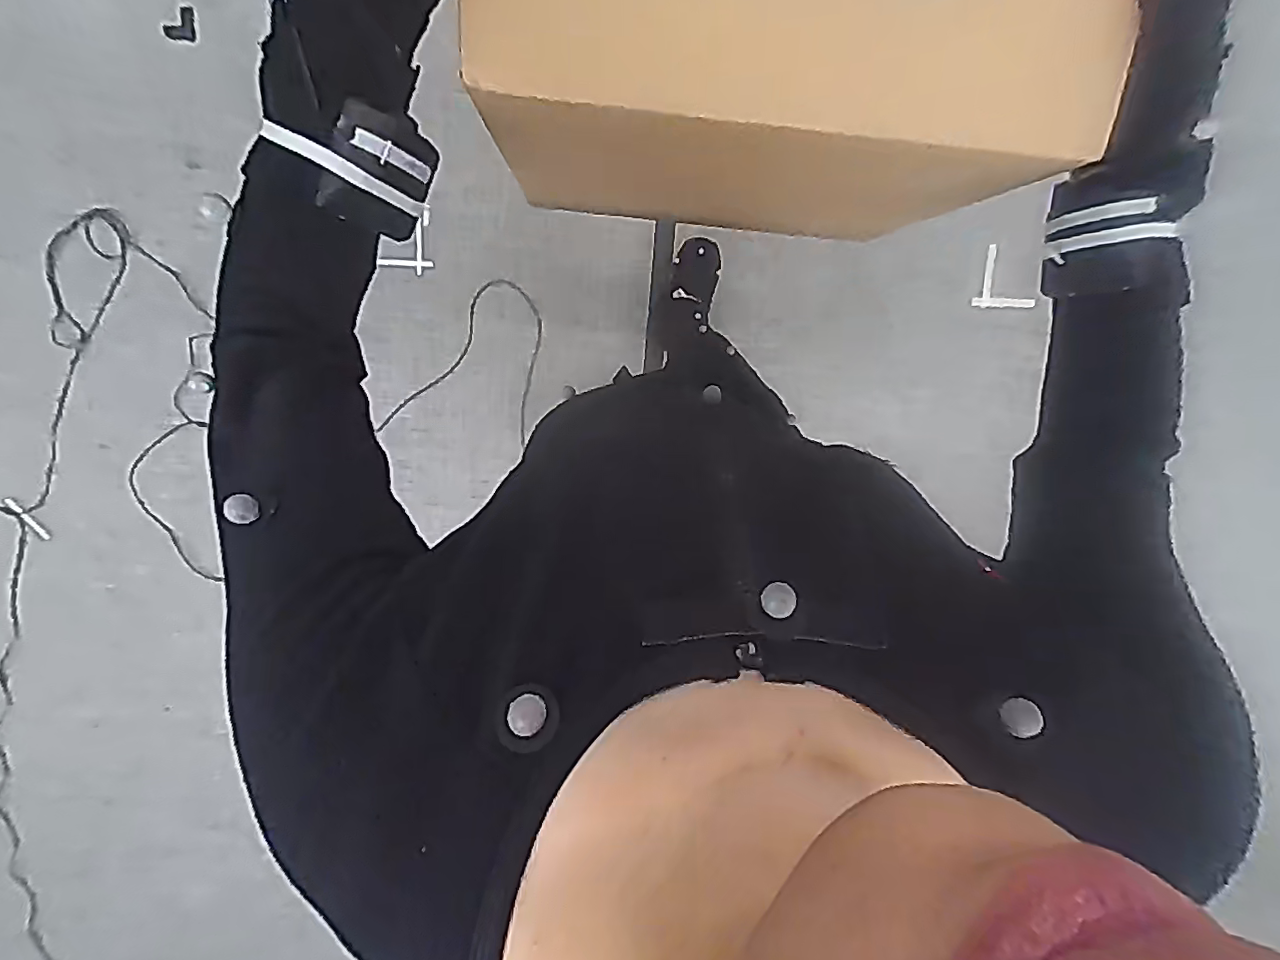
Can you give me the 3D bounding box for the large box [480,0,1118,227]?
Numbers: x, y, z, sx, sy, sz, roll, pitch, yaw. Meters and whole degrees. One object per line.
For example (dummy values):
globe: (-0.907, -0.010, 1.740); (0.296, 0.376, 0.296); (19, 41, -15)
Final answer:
large box: (0.095, -0.417, 0.450); (0.408, 0.320, 0.320); (2, 105, -6)
